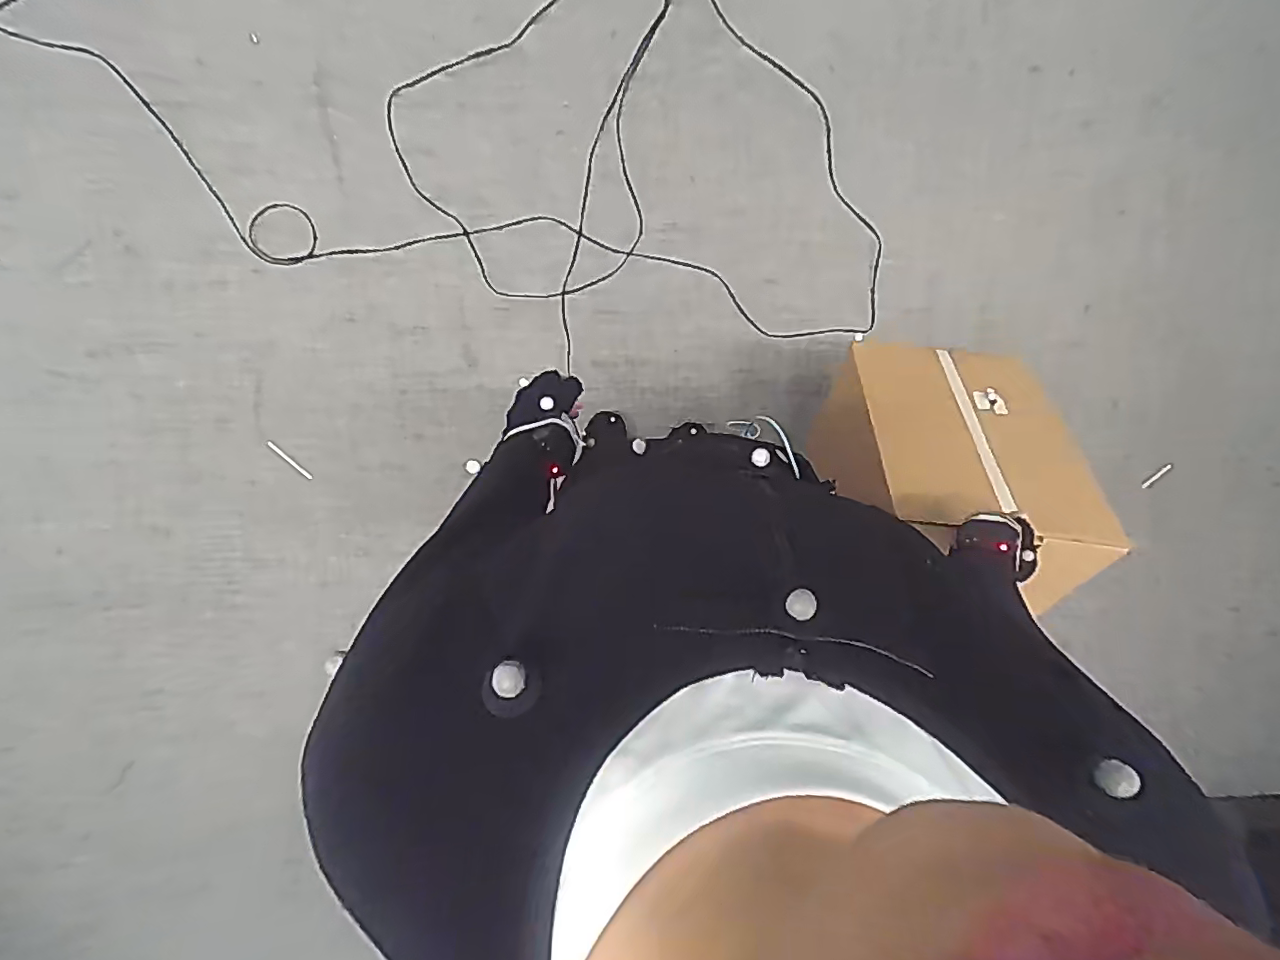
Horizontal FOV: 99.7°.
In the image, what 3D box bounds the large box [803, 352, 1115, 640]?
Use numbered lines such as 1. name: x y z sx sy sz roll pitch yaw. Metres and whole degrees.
1. large box: 0.501 0.026 0.970 0.320 0.408 0.320 8 138 1
